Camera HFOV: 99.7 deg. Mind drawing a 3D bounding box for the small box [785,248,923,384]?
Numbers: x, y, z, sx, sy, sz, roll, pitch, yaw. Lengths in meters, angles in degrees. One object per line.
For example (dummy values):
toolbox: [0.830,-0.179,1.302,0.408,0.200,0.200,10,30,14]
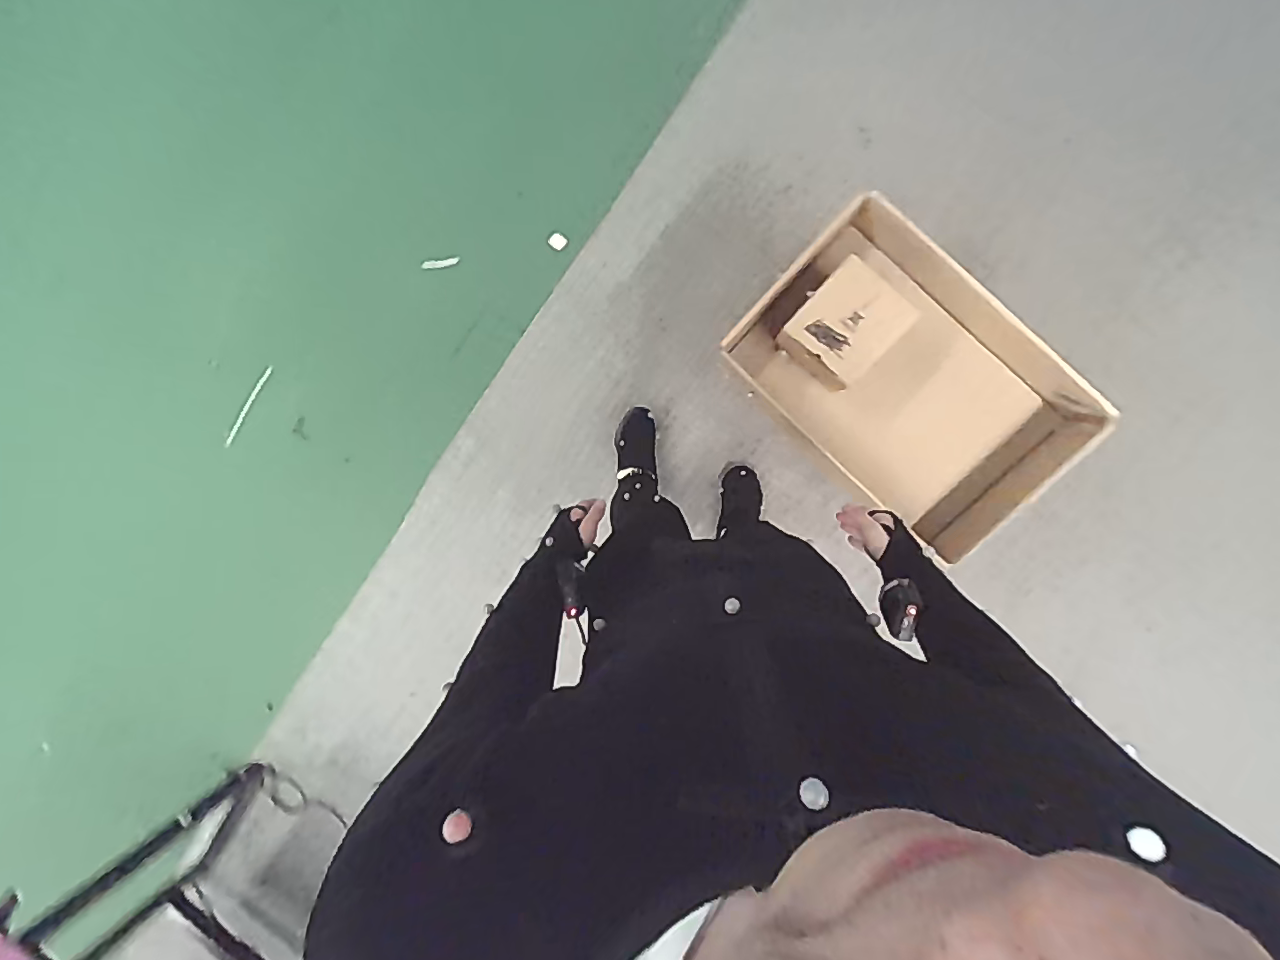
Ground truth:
small box: [0.398,-0.302,1.045,0.168,0.176,0.179,44,100,3]
